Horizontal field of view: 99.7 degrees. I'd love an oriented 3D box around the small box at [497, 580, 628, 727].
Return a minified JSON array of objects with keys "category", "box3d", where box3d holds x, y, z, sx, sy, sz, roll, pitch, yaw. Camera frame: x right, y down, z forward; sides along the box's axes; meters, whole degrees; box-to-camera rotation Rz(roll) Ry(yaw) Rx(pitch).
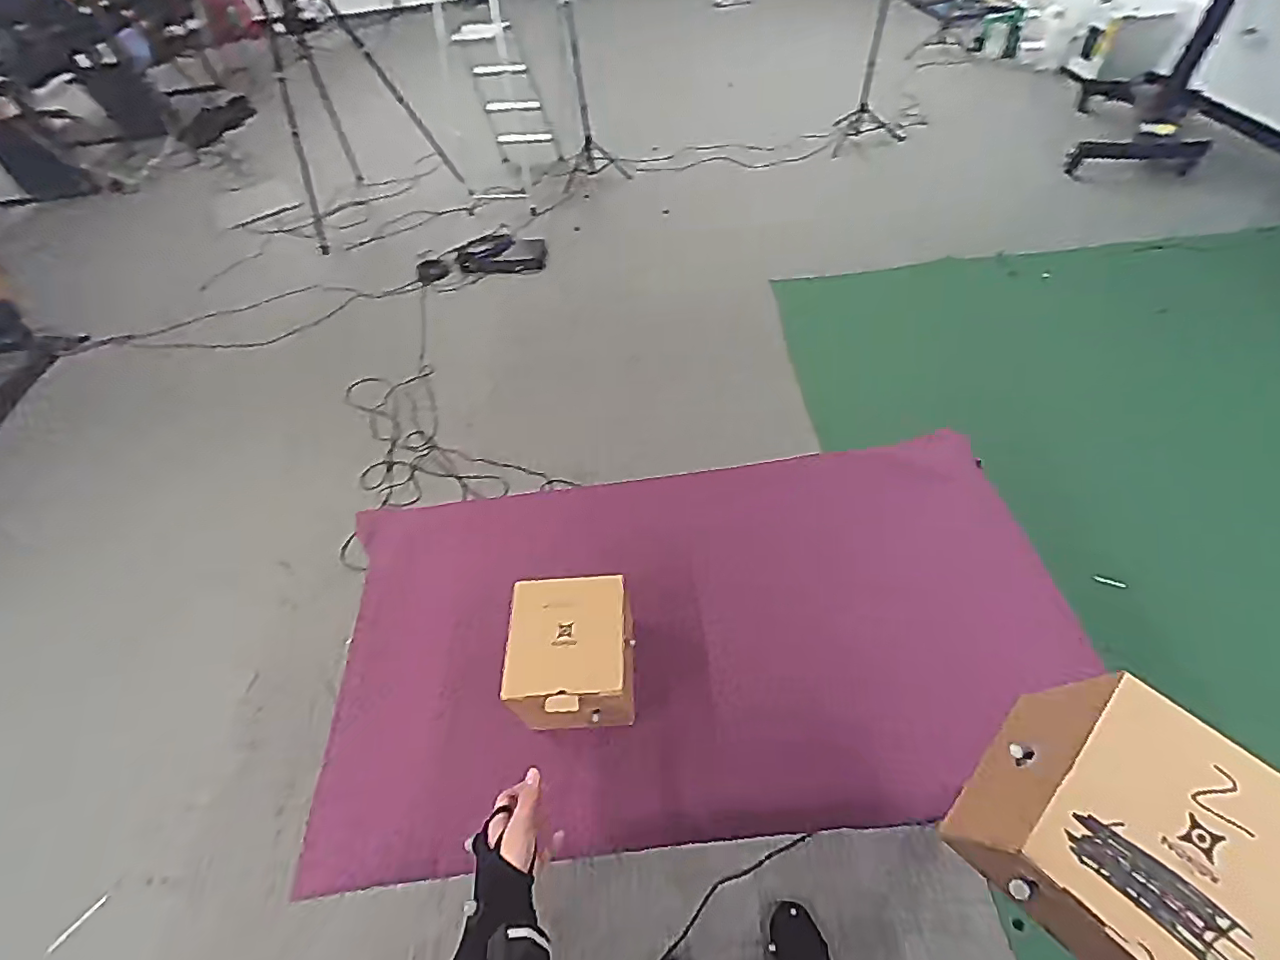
[{"category":"small box","box3d":[-0.107,0.273,0.832,0.168,0.176,0.179,-3,52,2]}]
